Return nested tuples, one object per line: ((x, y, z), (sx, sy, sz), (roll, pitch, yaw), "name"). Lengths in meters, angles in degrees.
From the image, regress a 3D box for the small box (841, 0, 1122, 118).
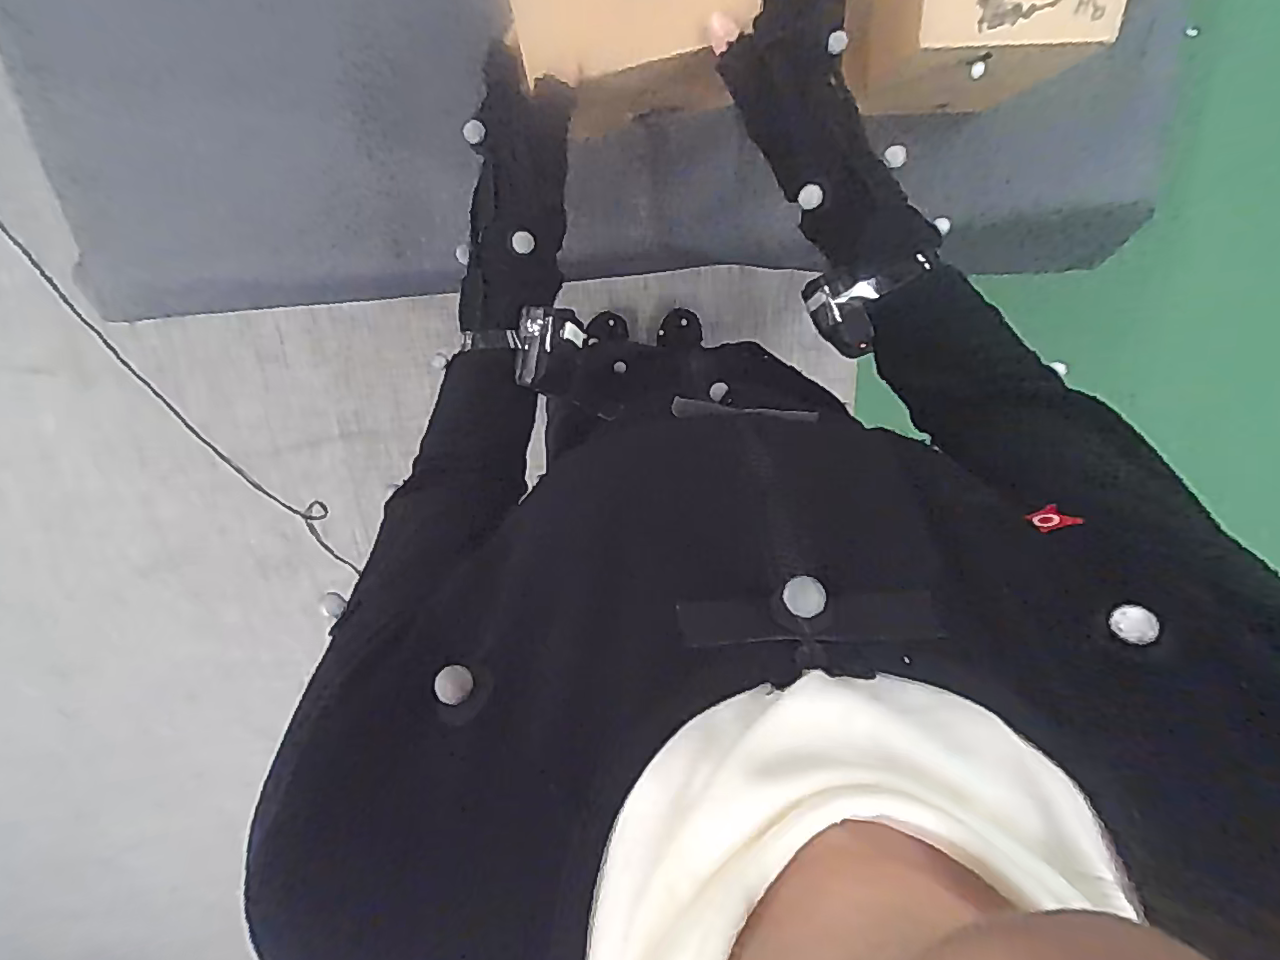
((0.295, -0.455, 0.486), (0.168, 0.176, 0.179), (-2, 108, -1), "small box")

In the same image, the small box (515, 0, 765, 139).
((-0.005, -0.395, 0.418), (0.168, 0.176, 0.179), (-9, 111, 9), "small box")
